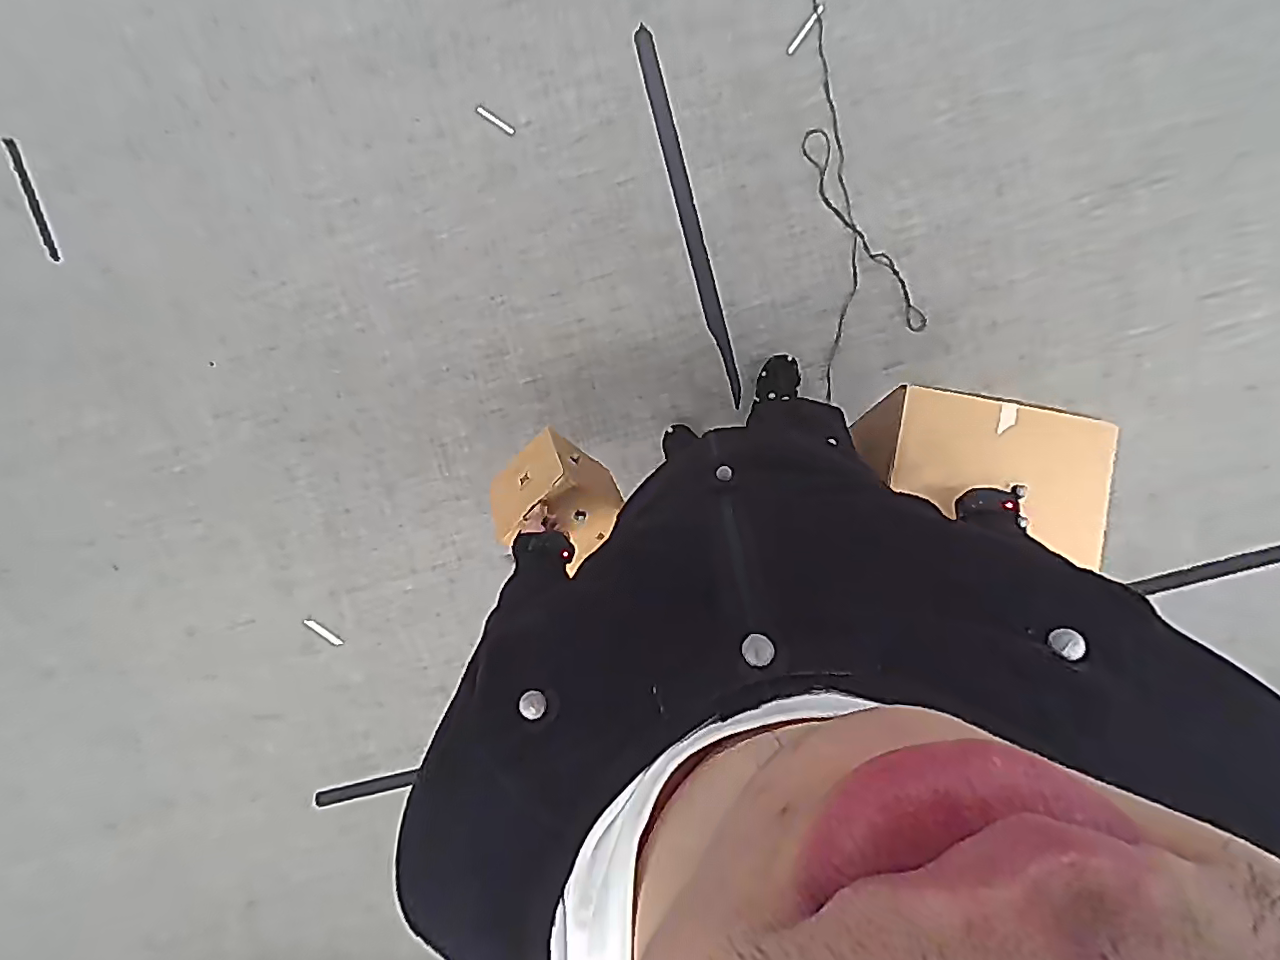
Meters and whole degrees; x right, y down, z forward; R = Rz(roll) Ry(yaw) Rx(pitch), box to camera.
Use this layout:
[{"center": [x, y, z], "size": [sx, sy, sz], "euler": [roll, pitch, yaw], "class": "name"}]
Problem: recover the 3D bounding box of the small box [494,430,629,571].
[{"center": [-0.145, 0.045, 0.992], "size": [0.168, 0.179, 0.176], "euler": [-46, 124, 11], "class": "small box"}]
